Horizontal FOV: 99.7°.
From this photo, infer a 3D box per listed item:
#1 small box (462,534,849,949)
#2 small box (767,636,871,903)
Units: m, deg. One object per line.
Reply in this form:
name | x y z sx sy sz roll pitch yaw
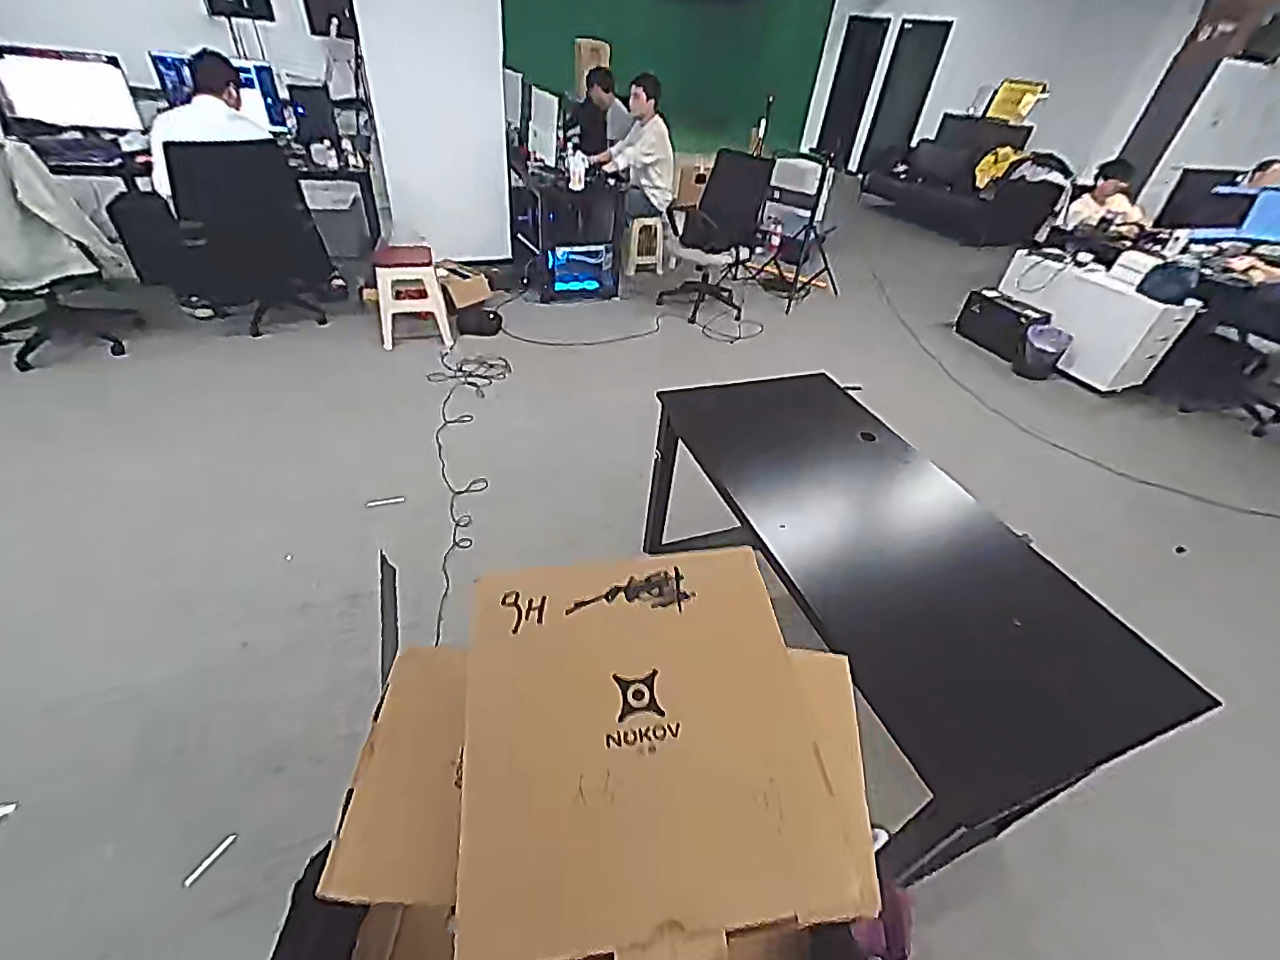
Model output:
small box | -0.005 0.156 0.333 0.168 0.176 0.179 -4 52 -8
small box | 0.081 0.249 0.476 0.168 0.176 0.179 8 48 2
